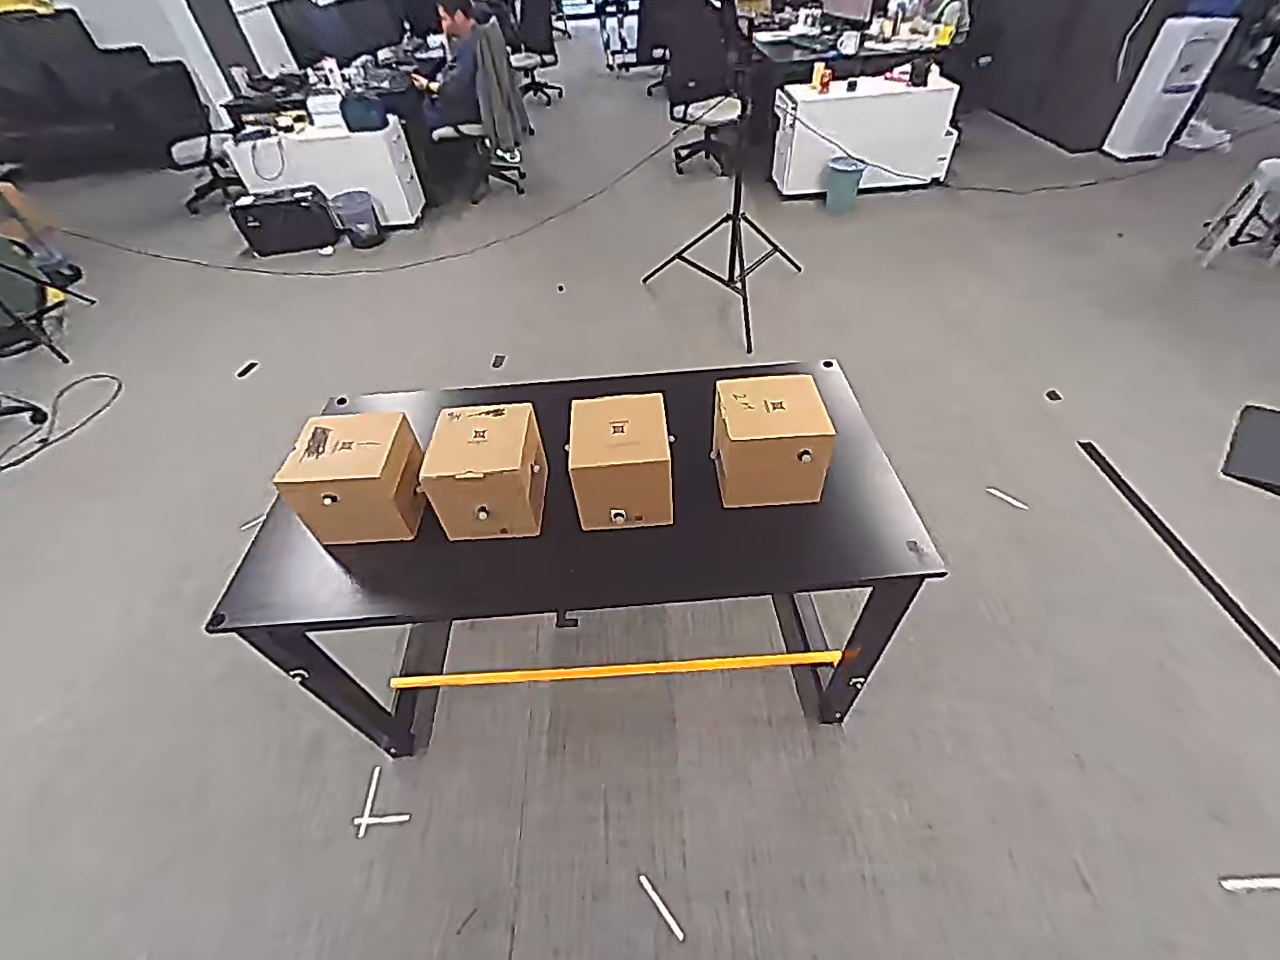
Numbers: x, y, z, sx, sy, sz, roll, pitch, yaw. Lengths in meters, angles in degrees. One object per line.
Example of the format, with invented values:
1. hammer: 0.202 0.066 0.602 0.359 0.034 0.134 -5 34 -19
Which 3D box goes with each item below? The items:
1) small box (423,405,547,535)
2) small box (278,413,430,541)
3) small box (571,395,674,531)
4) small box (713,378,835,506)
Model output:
1. small box: -0.267 -0.012 0.975 0.168 0.176 0.179 -3 47 0
2. small box: -0.498 -0.002 0.982 0.179 0.176 0.168 -3 47 0
3. small box: -0.029 -0.029 0.977 0.168 0.176 0.179 -6 47 1
4. small box: 0.233 -0.067 0.988 0.179 0.176 0.168 -3 46 1
